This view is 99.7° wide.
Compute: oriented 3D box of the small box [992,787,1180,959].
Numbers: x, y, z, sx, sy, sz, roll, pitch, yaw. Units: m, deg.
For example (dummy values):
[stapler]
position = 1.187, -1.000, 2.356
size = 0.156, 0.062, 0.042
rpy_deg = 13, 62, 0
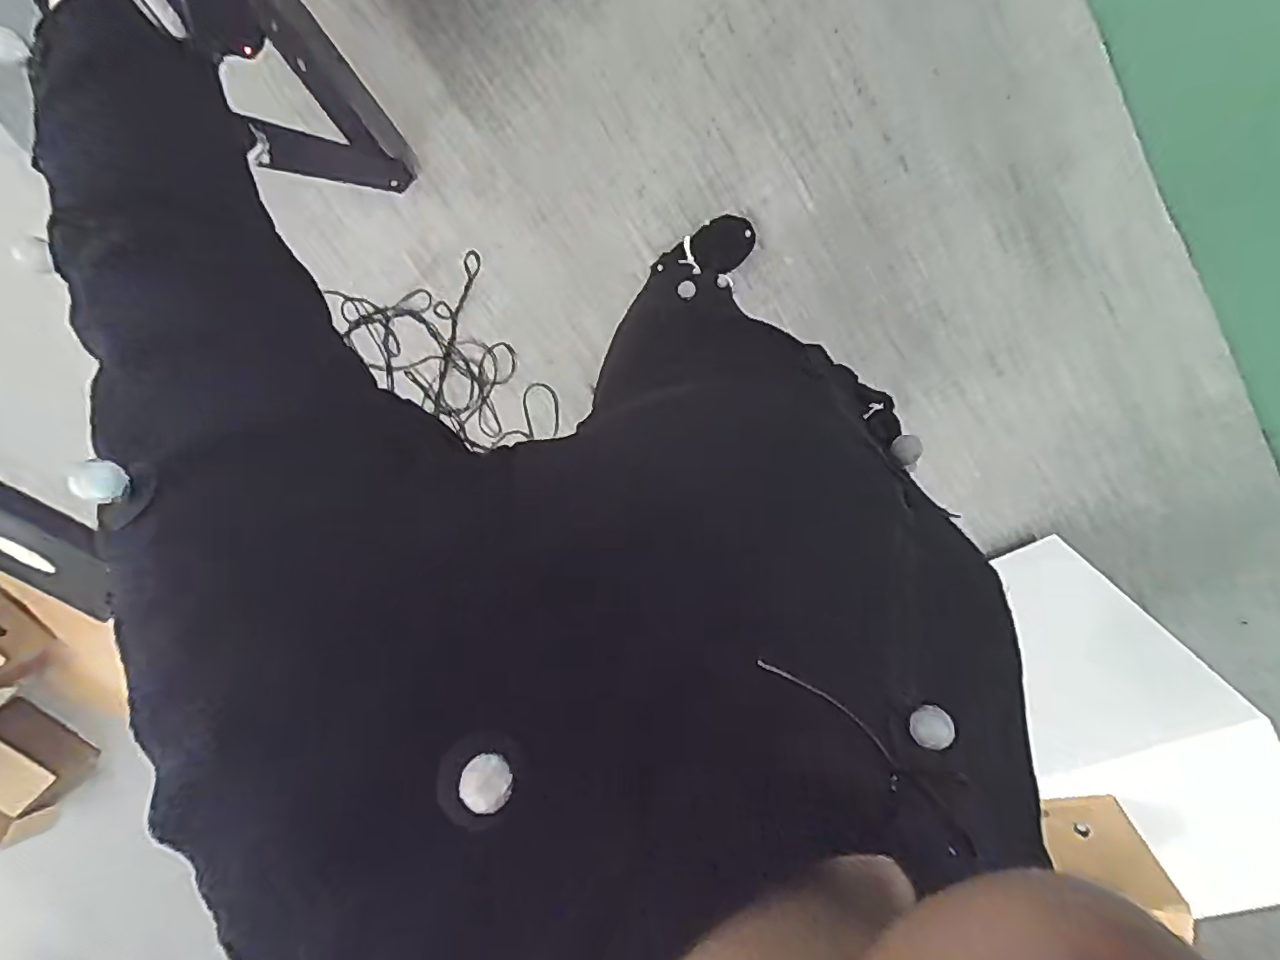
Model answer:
[small box]
position = 0.672, 0.610, 0.833
size = 0.168, 0.176, 0.179
rpy_deg = -15, 110, 15
